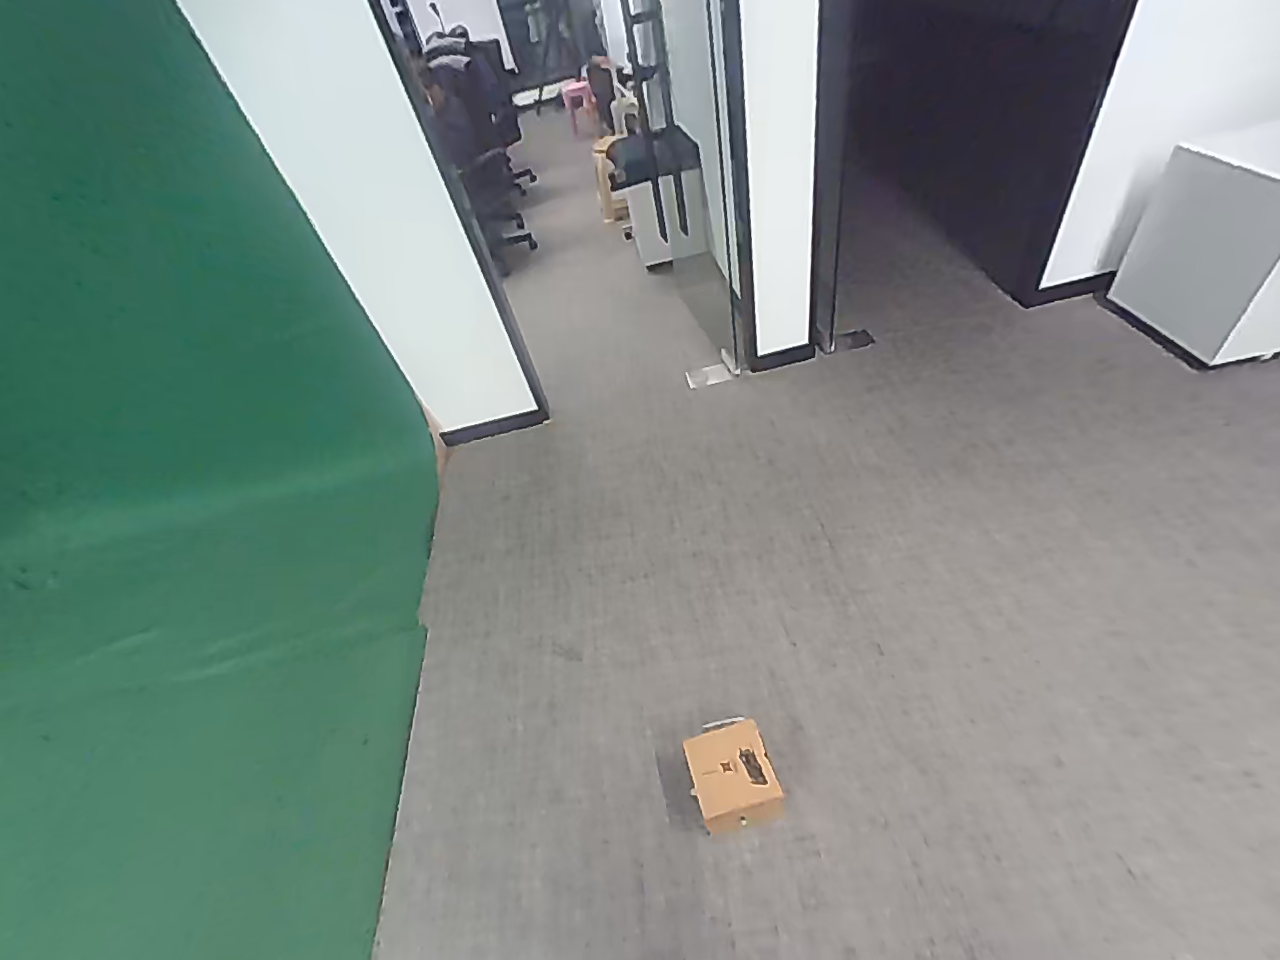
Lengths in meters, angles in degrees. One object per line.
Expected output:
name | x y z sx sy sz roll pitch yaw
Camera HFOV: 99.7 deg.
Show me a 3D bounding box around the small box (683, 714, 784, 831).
small box | 0.212 0.672 1.240 0.179 0.176 0.168 -19 45 -4
